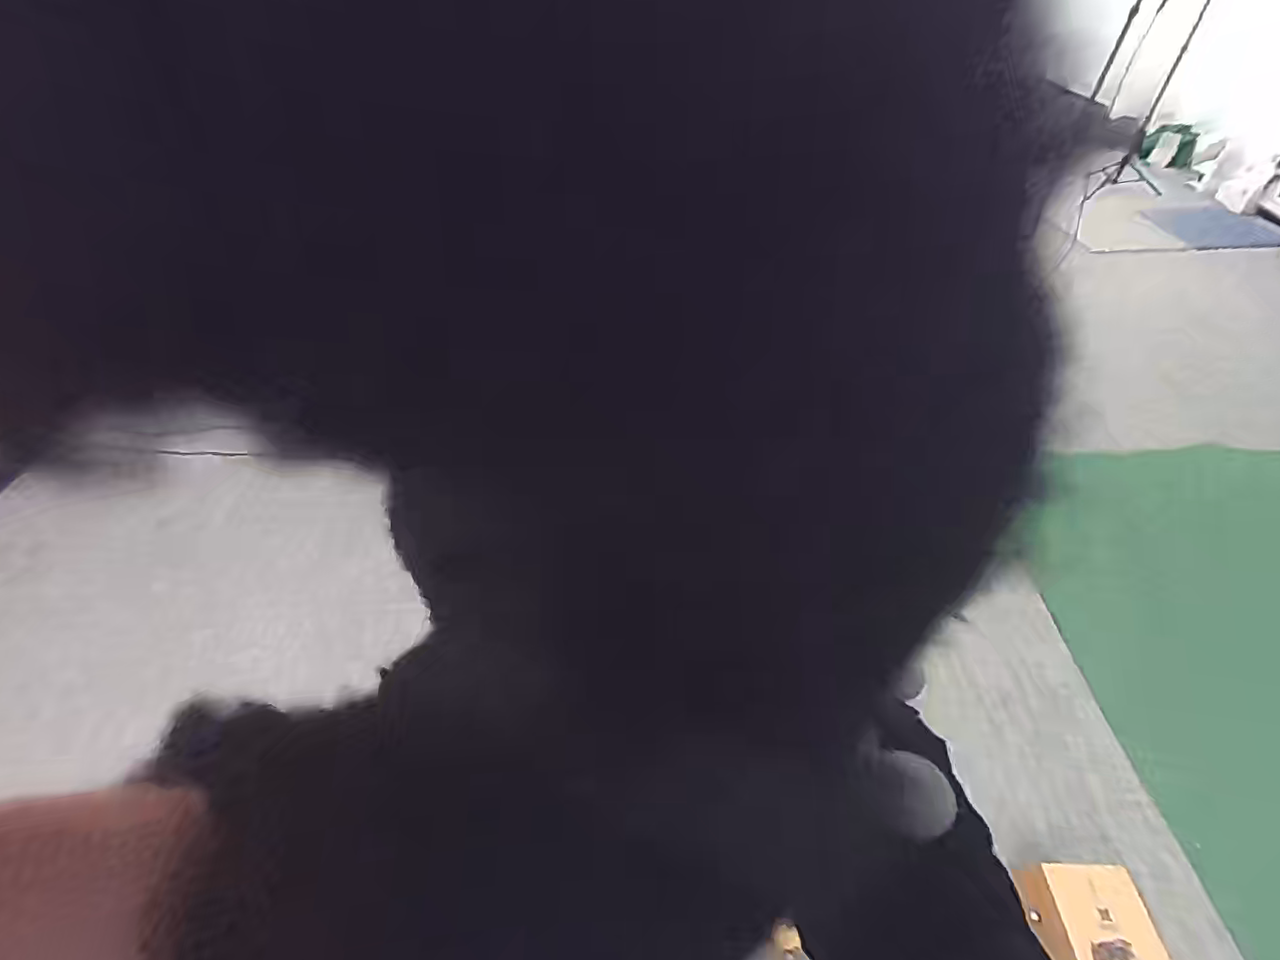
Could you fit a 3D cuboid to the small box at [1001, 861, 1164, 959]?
[{"bbox_3d":[0.861,0.874,1.065,0.168,0.176,0.179,1,46,3],"label":"small box"}]
